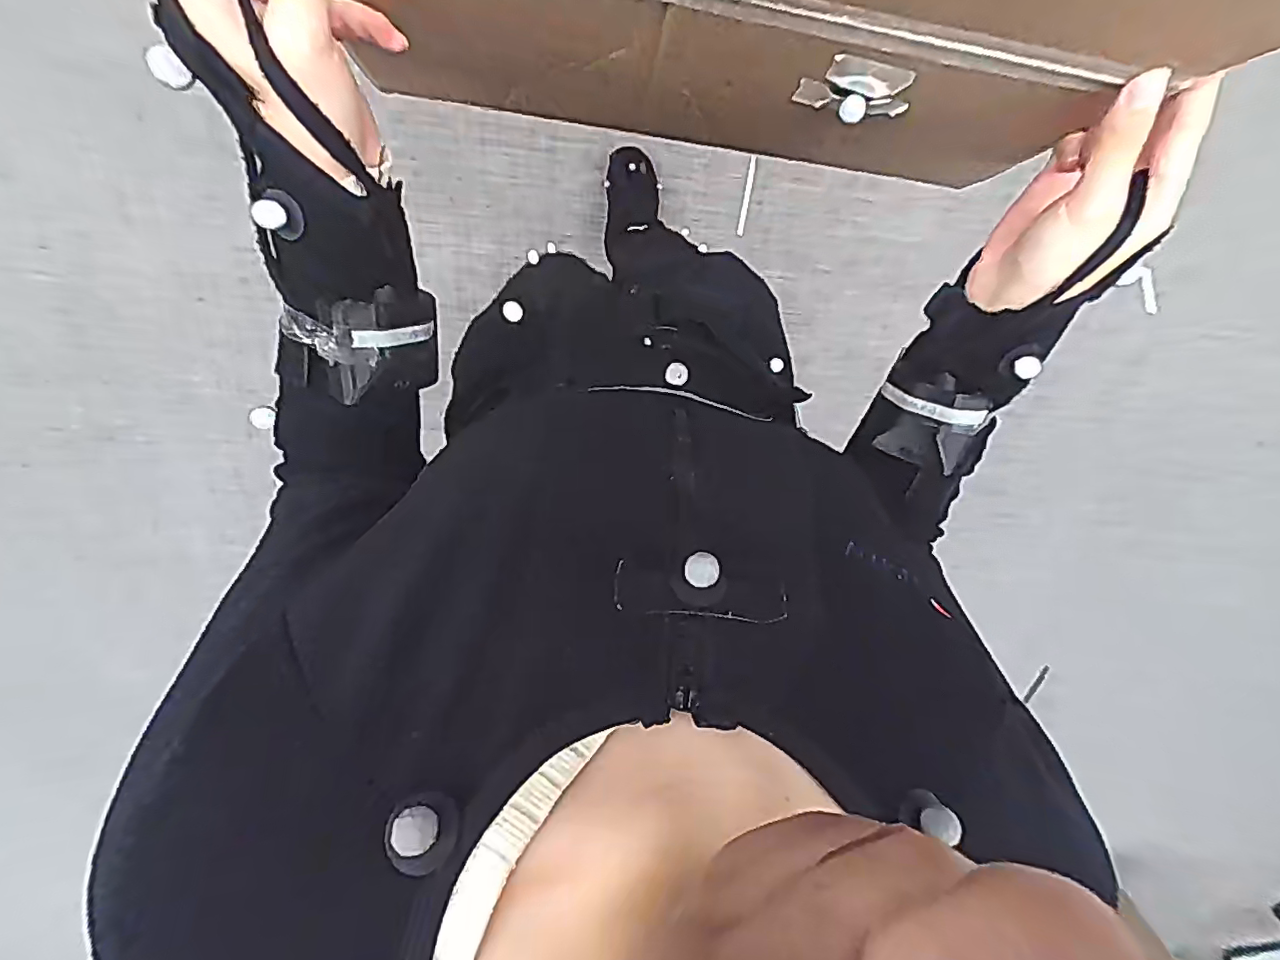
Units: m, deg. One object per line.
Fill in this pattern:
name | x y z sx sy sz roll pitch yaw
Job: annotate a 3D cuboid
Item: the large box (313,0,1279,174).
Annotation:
large box | 0.059 -0.350 0.191 0.408 0.320 0.320 4 103 -7
